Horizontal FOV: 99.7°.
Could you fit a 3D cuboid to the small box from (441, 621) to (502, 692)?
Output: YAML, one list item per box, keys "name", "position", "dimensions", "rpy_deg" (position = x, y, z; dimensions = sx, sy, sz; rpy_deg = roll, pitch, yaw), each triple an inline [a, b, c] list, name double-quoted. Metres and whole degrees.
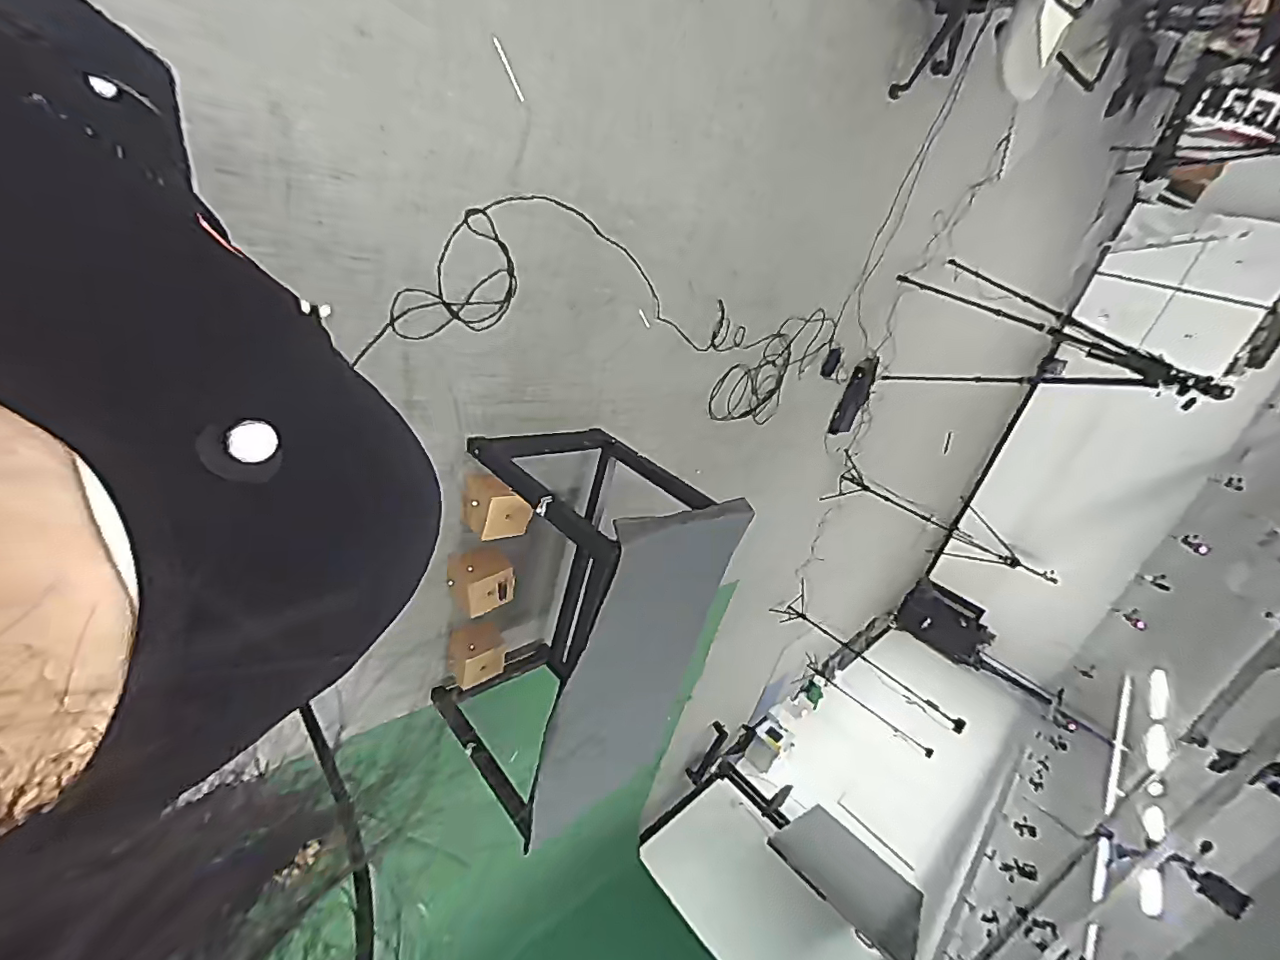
- name: "small box"
  position: [-0.672, 0.695, 2.142]
  dimensions: [0.179, 0.176, 0.168]
  rpy_deg: [-15, 128, -43]

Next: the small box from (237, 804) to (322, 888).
- name: "small box"
  position: [-1.270, 1.285, 1.905]
  dimensions: [0.168, 0.176, 0.179]
  rpy_deg: [-38, 142, -24]

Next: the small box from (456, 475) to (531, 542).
- name: "small box"
  position: [-0.512, 0.093, 1.868]
  dimensions: [0.179, 0.176, 0.168]
  rpy_deg: [-4, 120, -48]
